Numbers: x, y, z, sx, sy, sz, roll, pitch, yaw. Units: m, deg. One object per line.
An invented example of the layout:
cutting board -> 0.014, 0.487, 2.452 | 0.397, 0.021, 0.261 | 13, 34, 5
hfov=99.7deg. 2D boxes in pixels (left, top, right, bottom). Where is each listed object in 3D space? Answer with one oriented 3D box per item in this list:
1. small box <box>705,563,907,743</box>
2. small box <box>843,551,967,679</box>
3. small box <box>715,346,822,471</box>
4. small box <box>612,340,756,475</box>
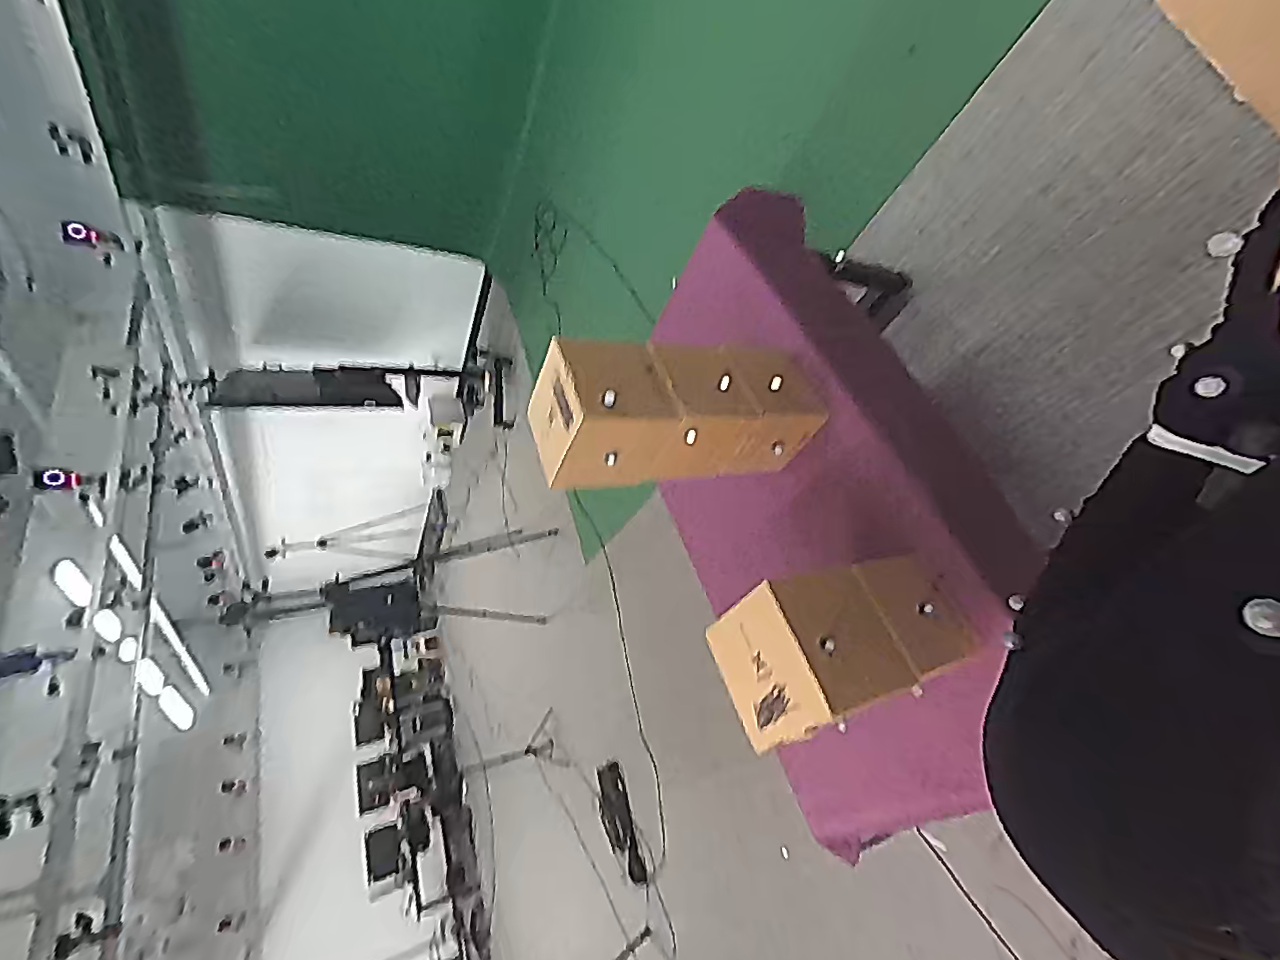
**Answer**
small box -> 0.226, 0.234, 0.753 | 0.168, 0.176, 0.179 | -57, 46, 44
small box -> 0.366, 0.226, 0.839 | 0.179, 0.176, 0.168 | -57, 46, 45
small box -> 0.216, -0.139, 1.050 | 0.168, 0.176, 0.179 | -57, 47, 44
small box -> 0.076, -0.124, 0.969 | 0.179, 0.176, 0.168 | -56, 47, 45
